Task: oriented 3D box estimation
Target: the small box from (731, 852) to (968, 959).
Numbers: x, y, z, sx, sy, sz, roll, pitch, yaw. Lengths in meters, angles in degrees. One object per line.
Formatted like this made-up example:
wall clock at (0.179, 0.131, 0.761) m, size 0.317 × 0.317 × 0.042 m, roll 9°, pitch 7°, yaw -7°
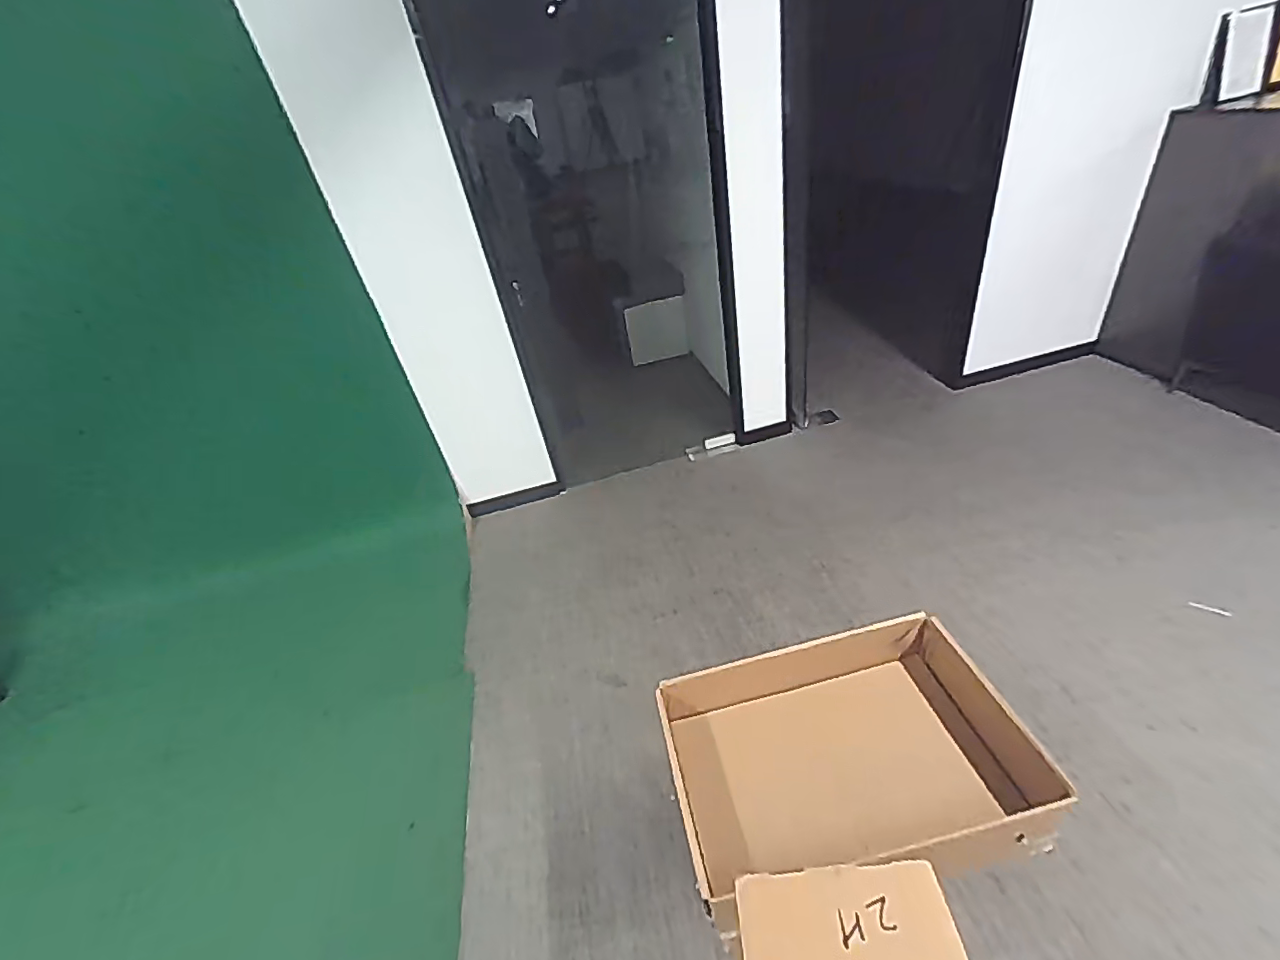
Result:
small box at (0.172, 0.433, 0.427) m, size 0.168 × 0.176 × 0.179 m, roll -9°, pitch 32°, yaw 5°
